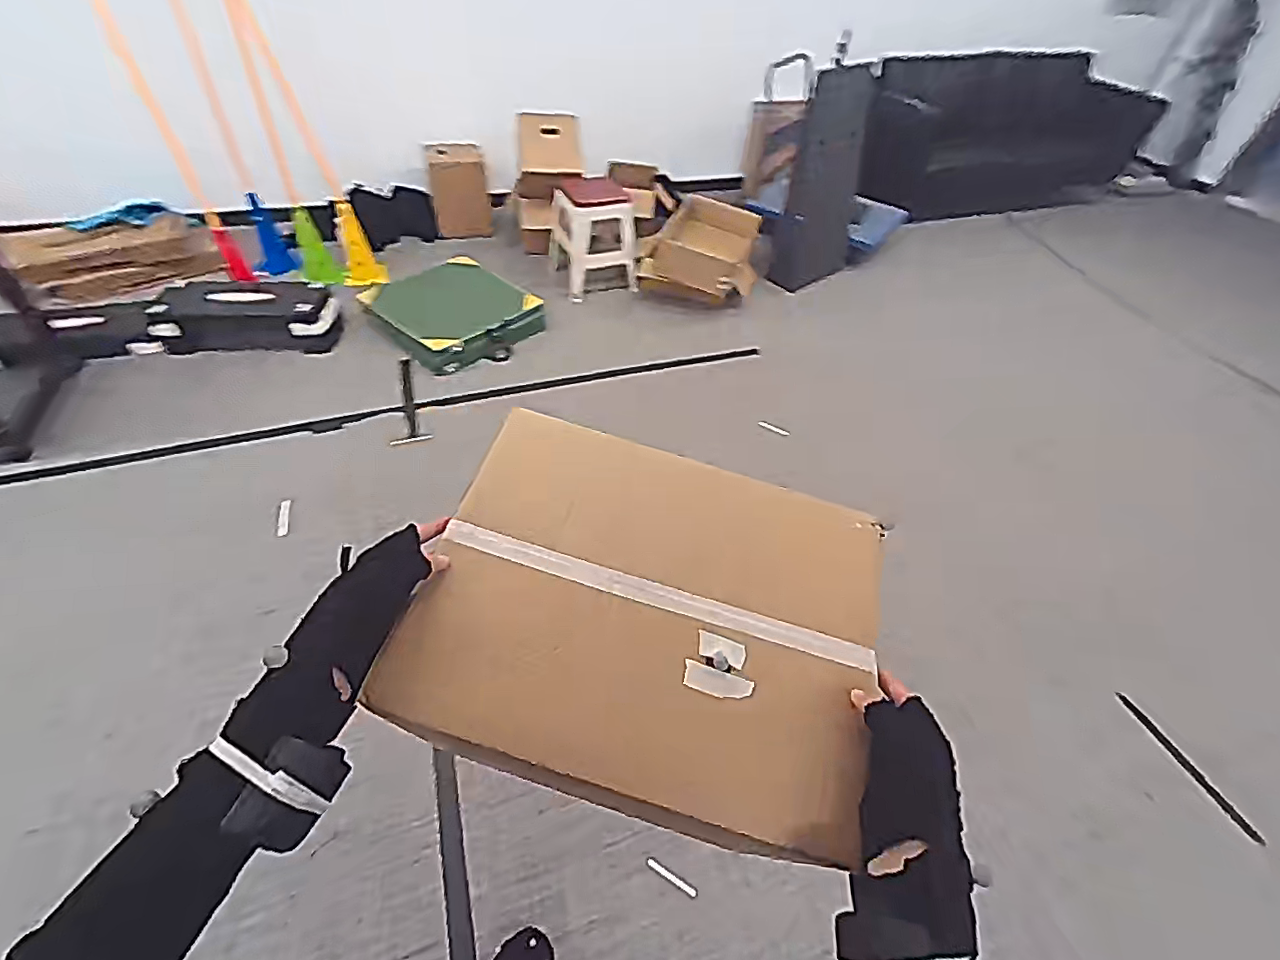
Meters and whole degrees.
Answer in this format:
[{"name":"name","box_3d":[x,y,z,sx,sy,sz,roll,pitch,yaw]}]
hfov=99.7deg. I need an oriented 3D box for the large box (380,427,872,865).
[{"name":"large box","box_3d":[-0.003,0.197,0.628,0.408,0.320,0.320,18,58,3]}]
